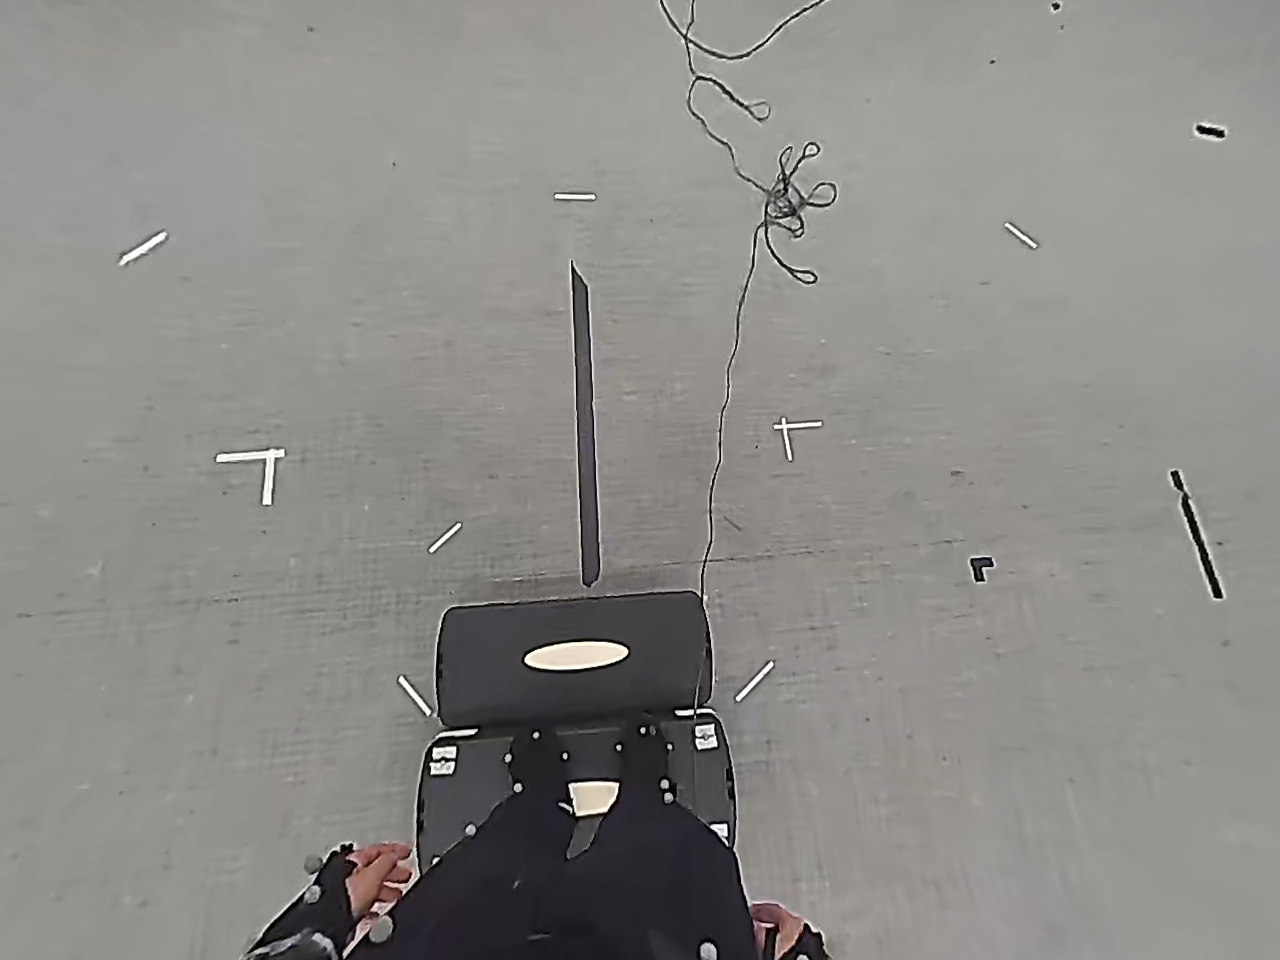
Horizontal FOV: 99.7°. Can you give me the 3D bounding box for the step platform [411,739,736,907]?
[{"bbox_3d":[-0.134,0.742,1.195,0.684,0.204,0.286,1,70,-3],"label":"step platform"}]
